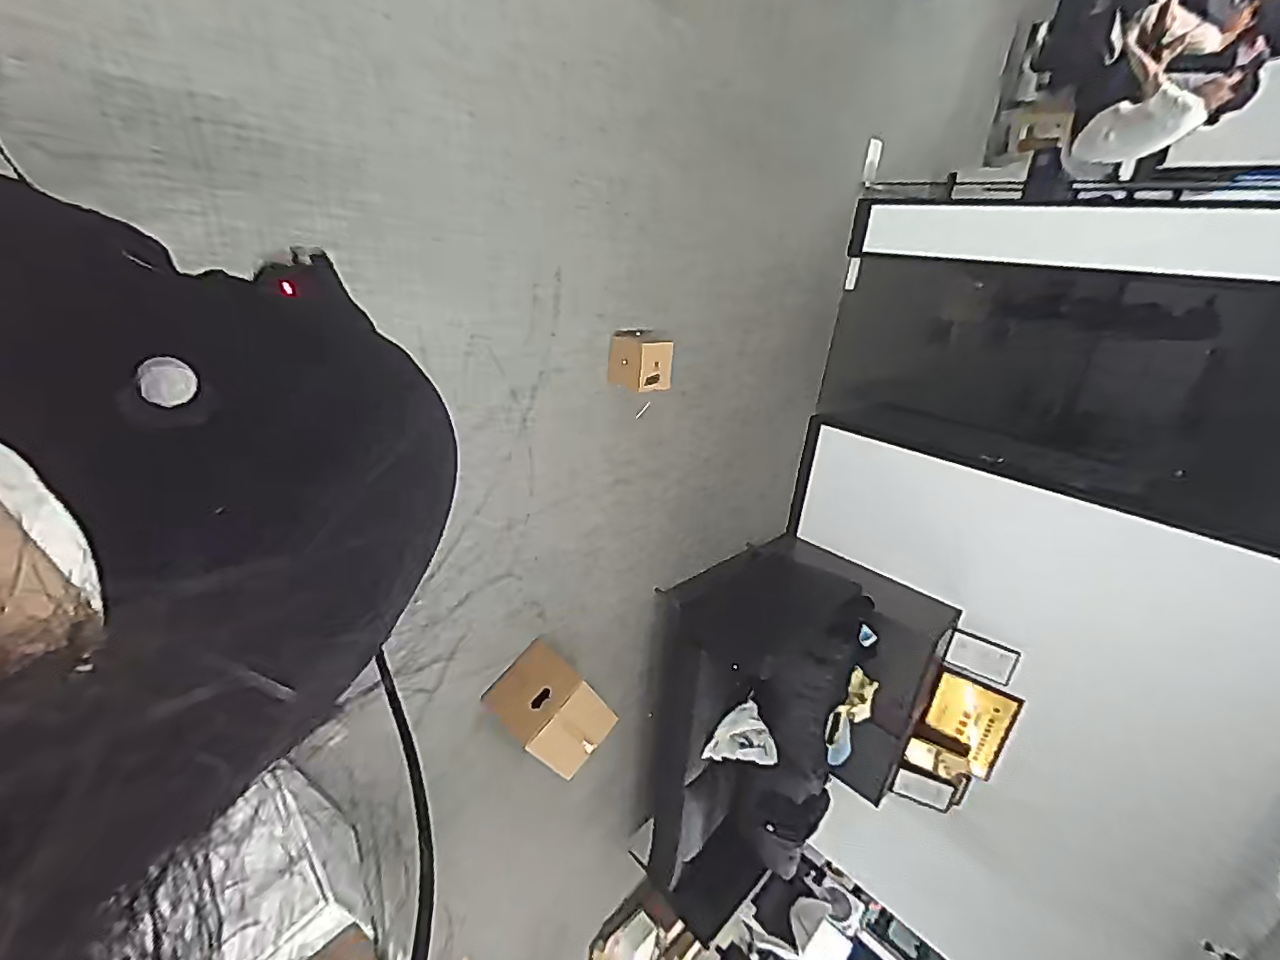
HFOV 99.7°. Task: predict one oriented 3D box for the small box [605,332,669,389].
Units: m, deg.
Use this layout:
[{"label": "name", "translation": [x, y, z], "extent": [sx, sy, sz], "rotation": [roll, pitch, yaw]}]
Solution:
[{"label": "small box", "translation": [-0.015, -0.449, 2.013], "extent": [0.168, 0.176, 0.179], "rotation": [-16, 121, -43]}]
